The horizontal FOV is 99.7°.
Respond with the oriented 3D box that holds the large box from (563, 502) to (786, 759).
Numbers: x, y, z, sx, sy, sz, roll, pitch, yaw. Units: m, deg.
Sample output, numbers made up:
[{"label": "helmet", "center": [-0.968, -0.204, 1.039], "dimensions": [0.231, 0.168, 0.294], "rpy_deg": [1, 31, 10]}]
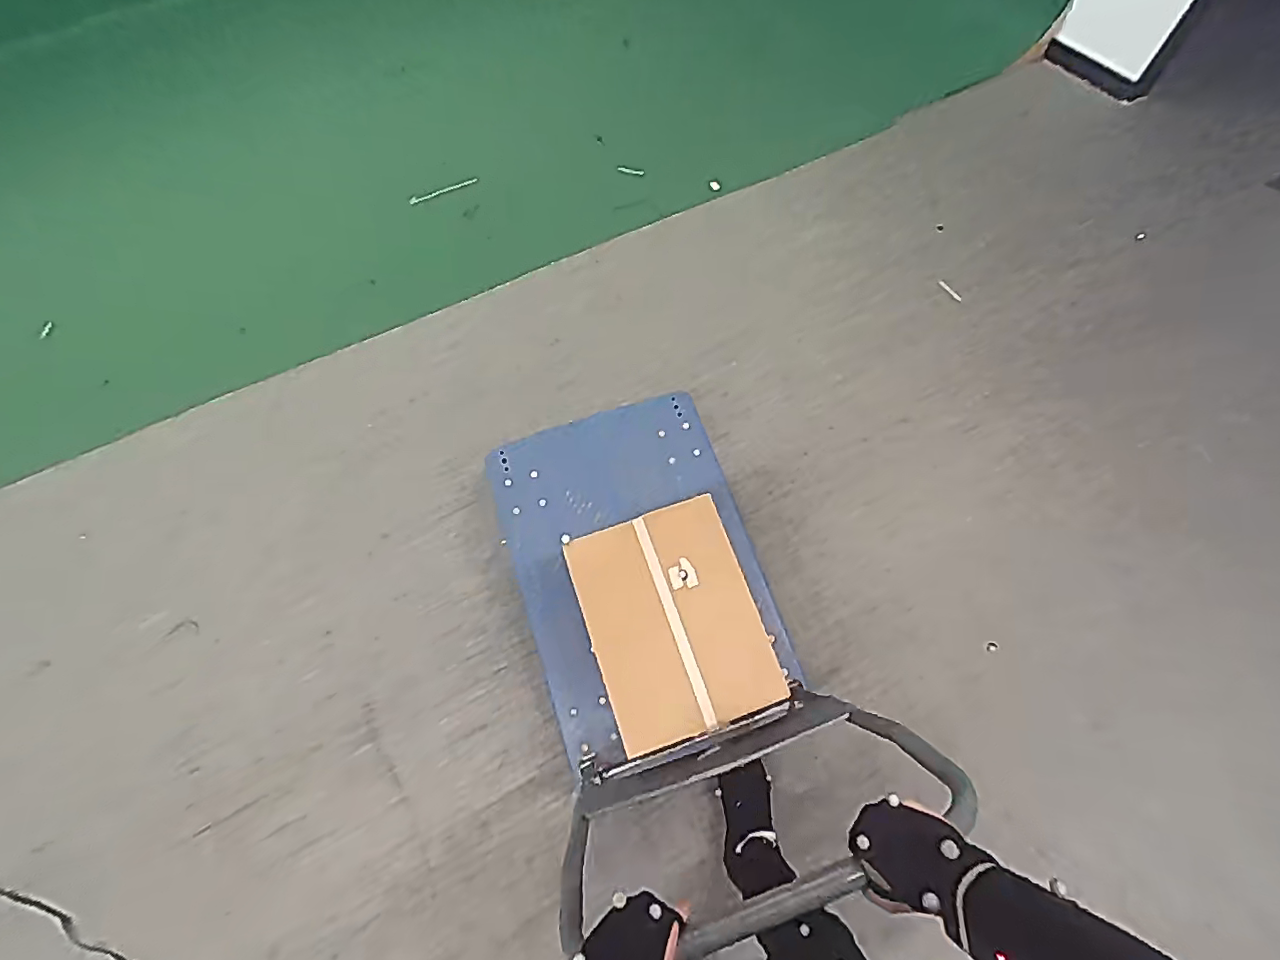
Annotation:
[{"label": "large box", "center": [0.061, 0.315, 1.163], "dimensions": [0.320, 0.320, 0.408], "rpy_deg": [-19, 72, -6]}]
